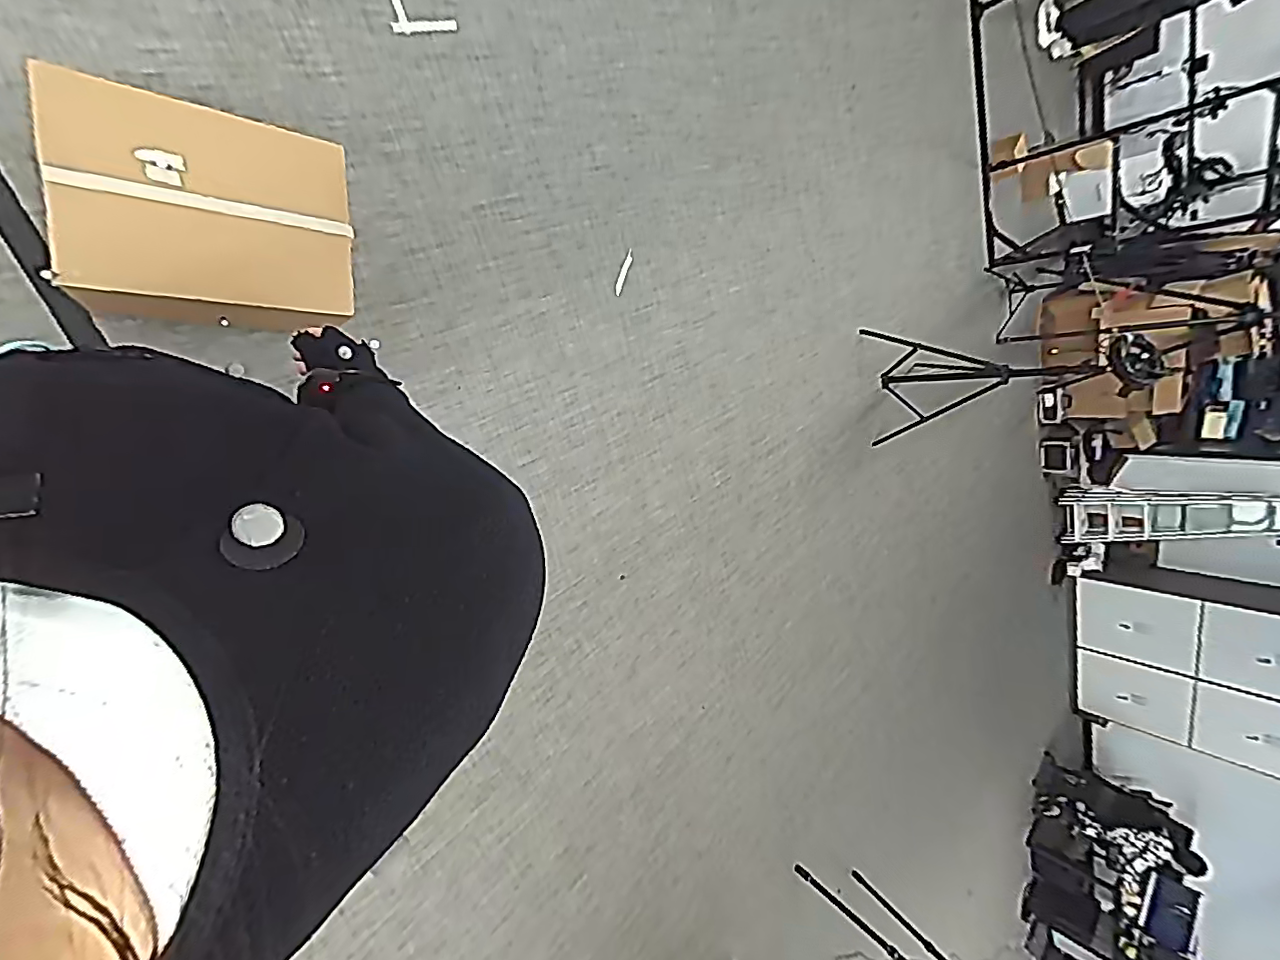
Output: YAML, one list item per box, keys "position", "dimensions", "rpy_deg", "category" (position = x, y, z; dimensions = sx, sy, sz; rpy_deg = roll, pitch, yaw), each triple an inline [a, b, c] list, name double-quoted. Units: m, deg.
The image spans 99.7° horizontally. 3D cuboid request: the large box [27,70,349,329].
- position: [-0.815, -0.475, 1.032]
  dimensions: [0.408, 0.320, 0.320]
  rpy_deg: [-5, 98, -37]
  category: "large box"
